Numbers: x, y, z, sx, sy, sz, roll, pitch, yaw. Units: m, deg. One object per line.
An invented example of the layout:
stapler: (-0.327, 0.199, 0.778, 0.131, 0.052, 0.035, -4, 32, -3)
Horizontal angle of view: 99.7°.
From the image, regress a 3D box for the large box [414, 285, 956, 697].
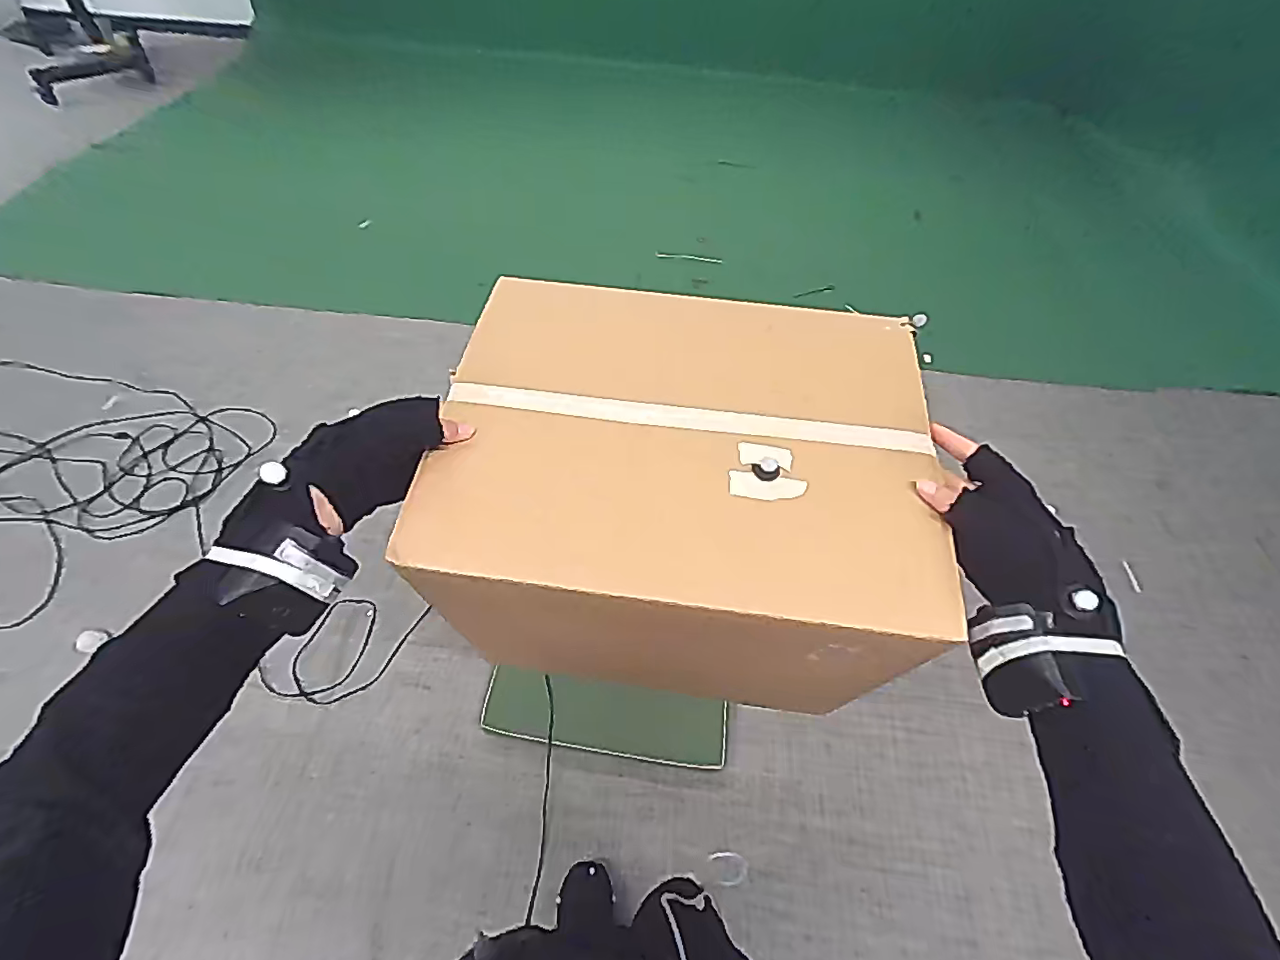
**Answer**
large box: (0.040, 0.027, 0.592, 0.408, 0.320, 0.320, 7, 59, 3)
